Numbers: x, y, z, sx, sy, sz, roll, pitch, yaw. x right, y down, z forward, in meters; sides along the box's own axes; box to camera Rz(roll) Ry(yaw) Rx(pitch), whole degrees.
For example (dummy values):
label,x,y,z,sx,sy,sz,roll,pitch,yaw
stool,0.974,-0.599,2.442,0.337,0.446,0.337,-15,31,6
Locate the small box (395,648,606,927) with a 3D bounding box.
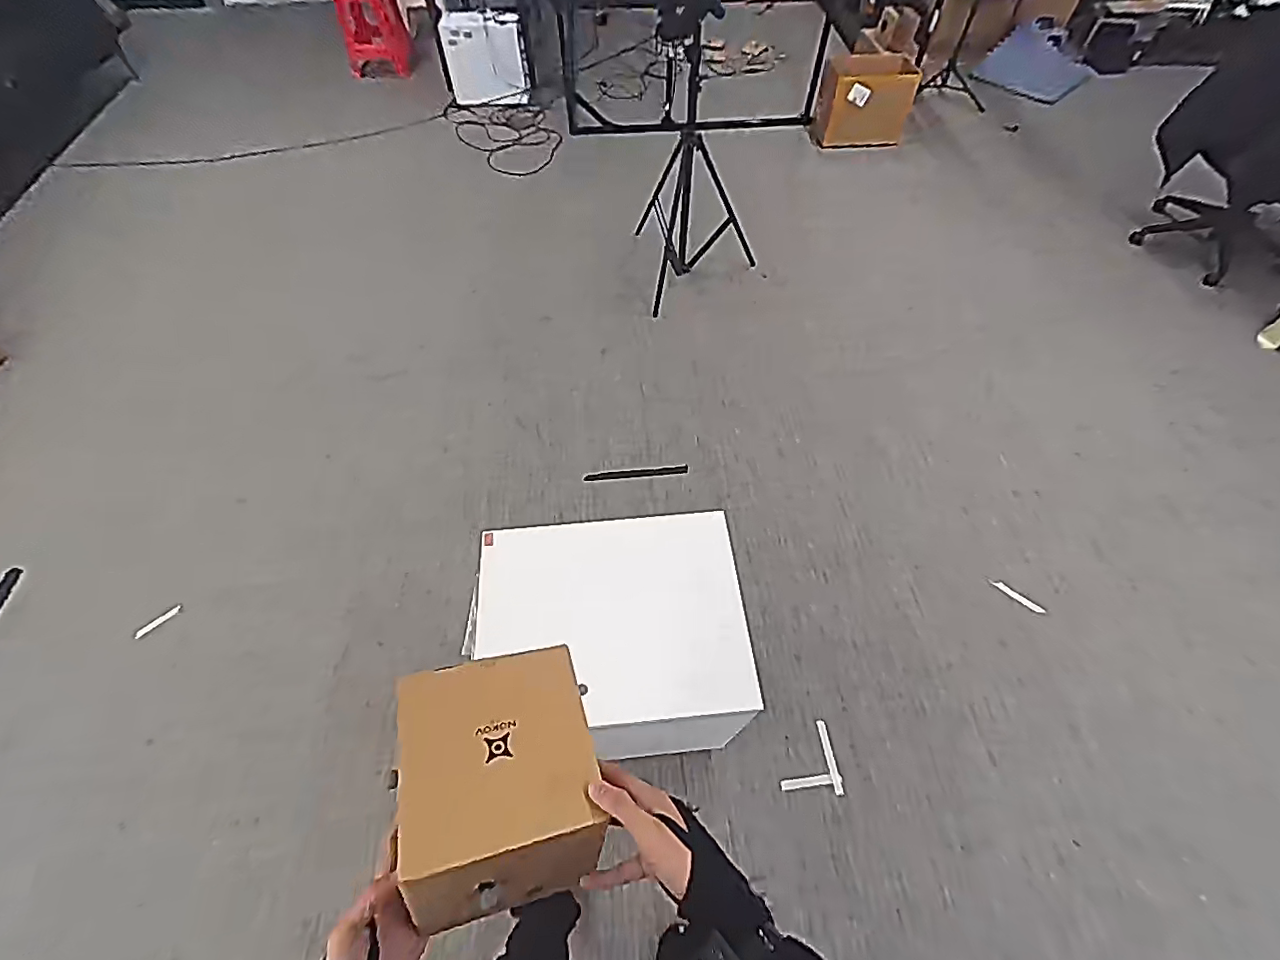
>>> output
label,x,y,z,sx,sy,sz,roll,pitch,yaw
small box,-0.137,0.299,0.530,0.168,0.176,0.179,-6,40,-19
